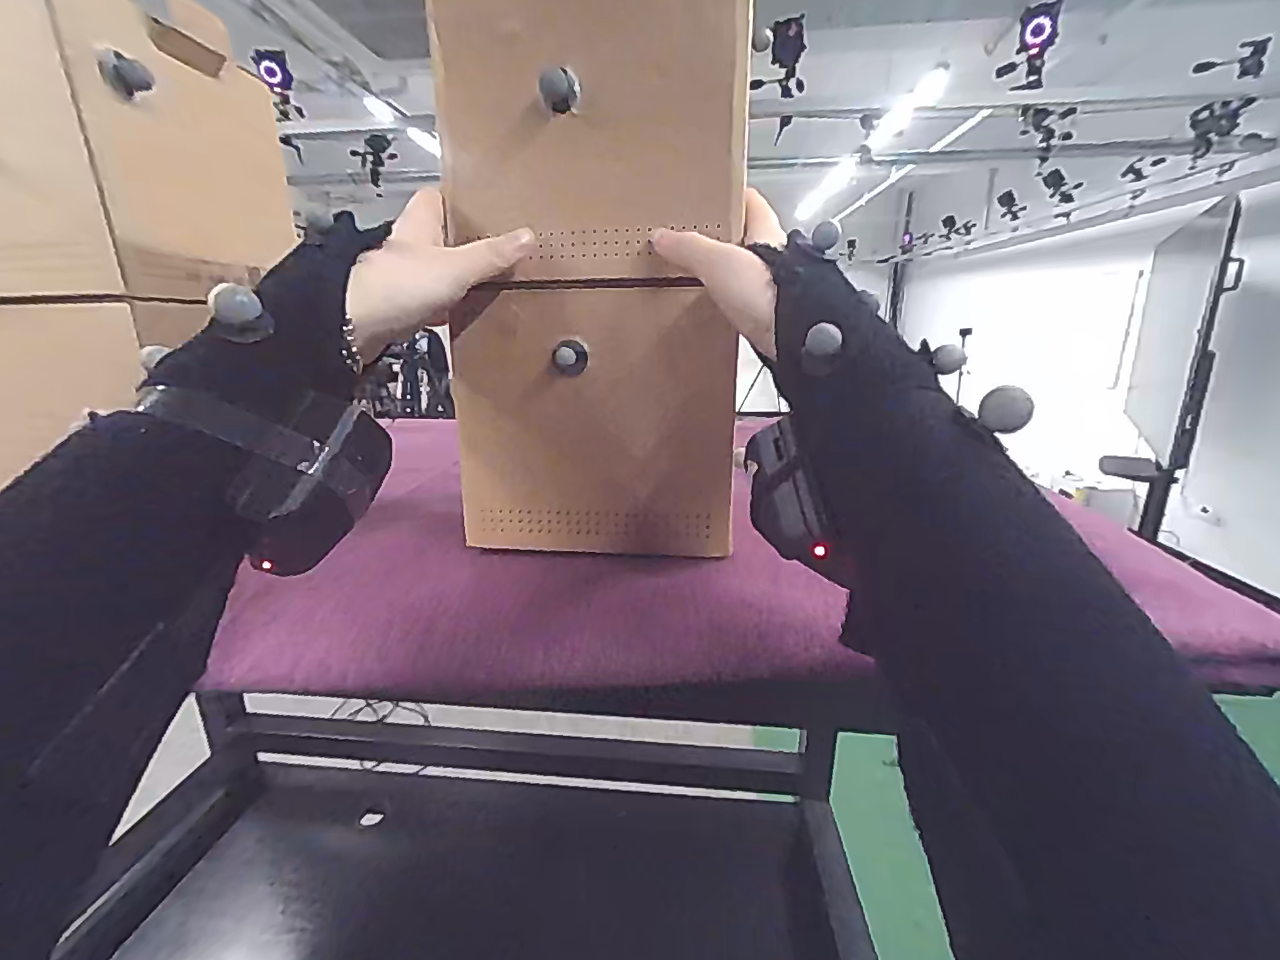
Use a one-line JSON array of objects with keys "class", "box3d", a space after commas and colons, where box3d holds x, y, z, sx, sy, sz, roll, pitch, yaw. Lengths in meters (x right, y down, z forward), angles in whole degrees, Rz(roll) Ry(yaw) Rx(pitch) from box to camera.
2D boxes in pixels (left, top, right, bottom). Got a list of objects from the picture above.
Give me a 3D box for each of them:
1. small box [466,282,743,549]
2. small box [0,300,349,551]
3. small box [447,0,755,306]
[{"class": "small box", "box3d": [-0.014, -0.051, 0.419, 0.179, 0.176, 0.168, 2, 13, 7]}, {"class": "small box", "box3d": [-0.364, -0.050, 0.430, 0.179, 0.176, 0.168, 0, 15, 5]}, {"class": "small box", "box3d": [-0.012, -0.211, 0.384, 0.179, 0.176, 0.168, 1, 13, 8]}]
